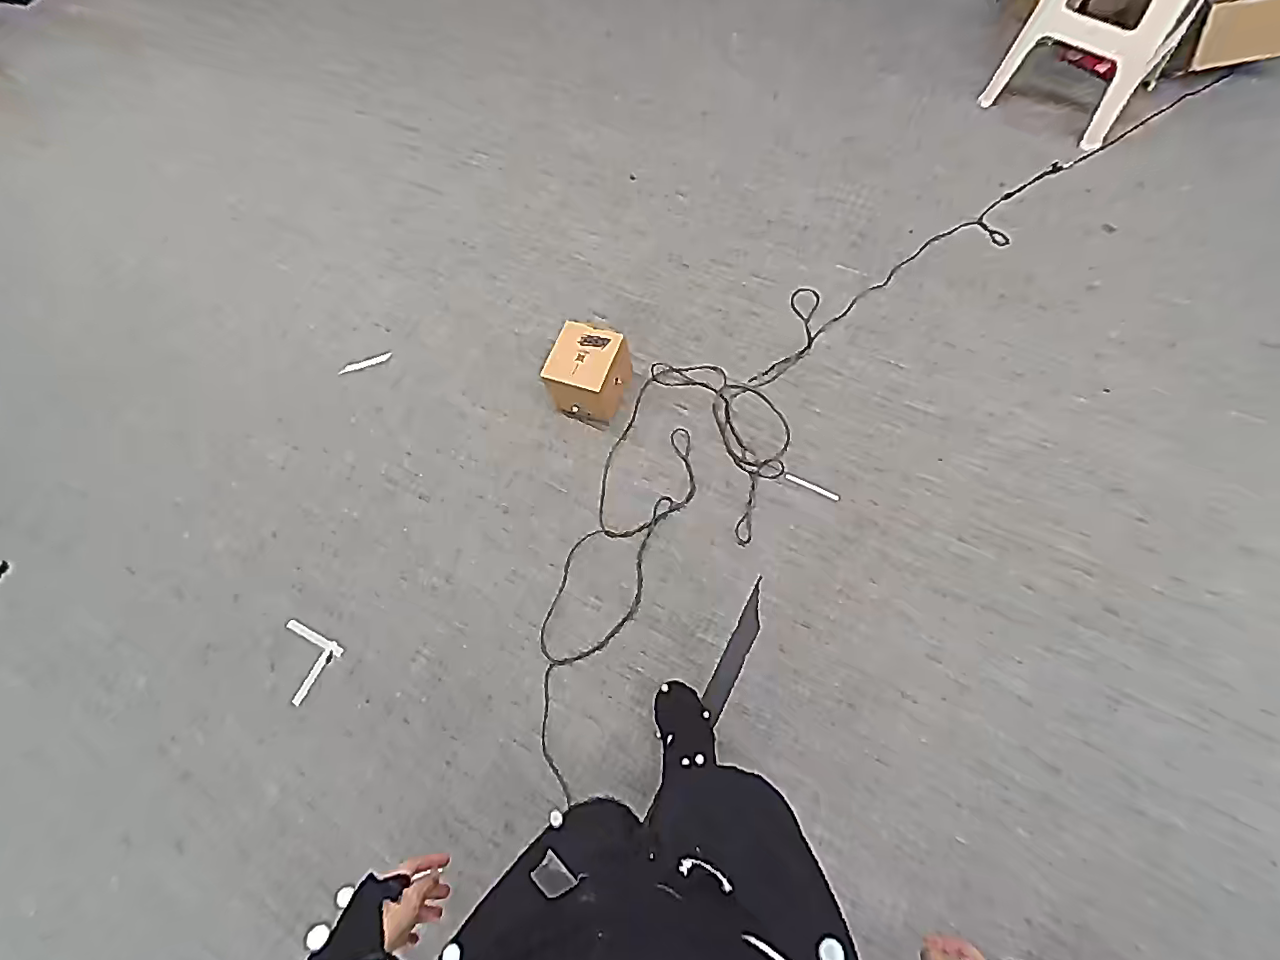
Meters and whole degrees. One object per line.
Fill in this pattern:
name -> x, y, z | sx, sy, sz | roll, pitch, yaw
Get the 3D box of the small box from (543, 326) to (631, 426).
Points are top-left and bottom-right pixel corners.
small box -> -0.131, -0.272, 1.429 | 0.168, 0.176, 0.179 | 17, 72, 14
